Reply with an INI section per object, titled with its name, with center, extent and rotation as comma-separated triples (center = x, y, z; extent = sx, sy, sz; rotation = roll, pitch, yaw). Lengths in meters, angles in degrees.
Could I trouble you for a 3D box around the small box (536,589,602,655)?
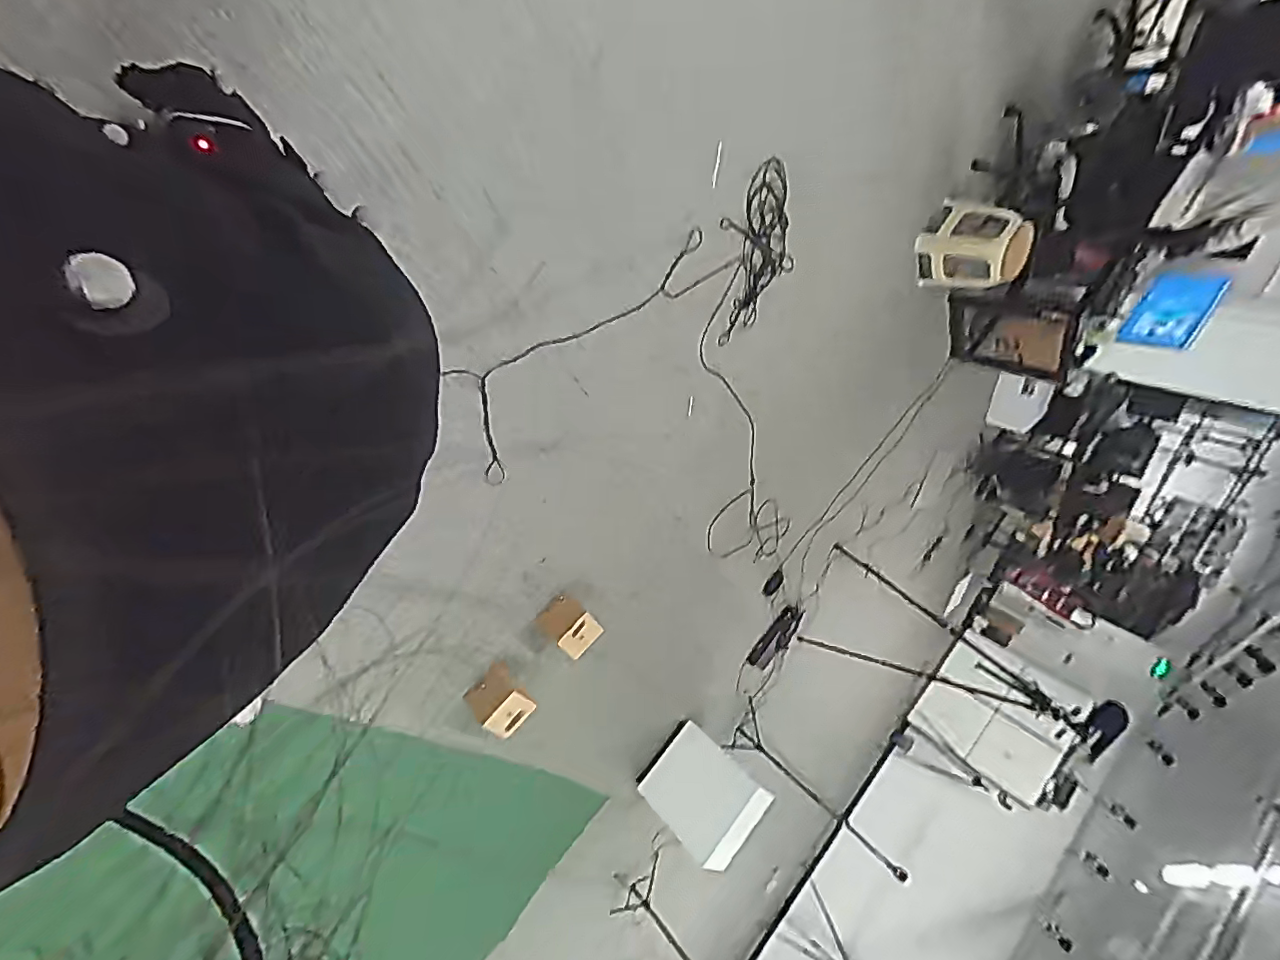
[small box]
center = -0.290, 0.569, 2.194
extent = 0.168, 0.176, 0.179
rotation = -44, 138, -15
